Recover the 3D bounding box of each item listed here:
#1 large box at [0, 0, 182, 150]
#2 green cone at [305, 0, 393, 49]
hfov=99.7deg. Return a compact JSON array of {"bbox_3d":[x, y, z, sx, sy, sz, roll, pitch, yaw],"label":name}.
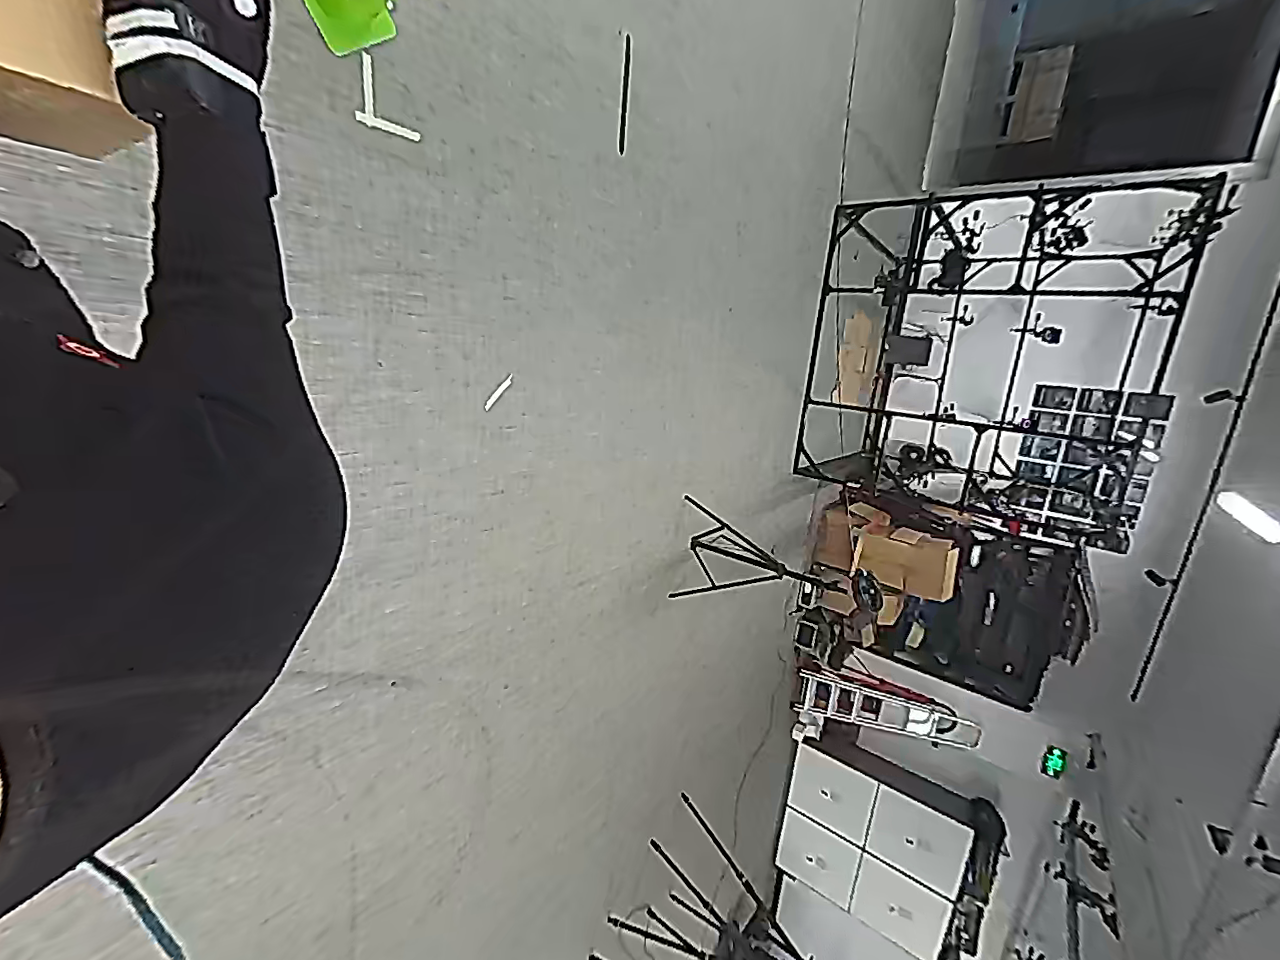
[{"bbox_3d":[-0.573,-0.435,0.304,0.408,0.320,0.320,-12,114,-52],"label":"large box"},{"bbox_3d":[-0.555,-1.101,1.156,0.202,0.368,0.200,-54,141,-30],"label":"green cone"}]
